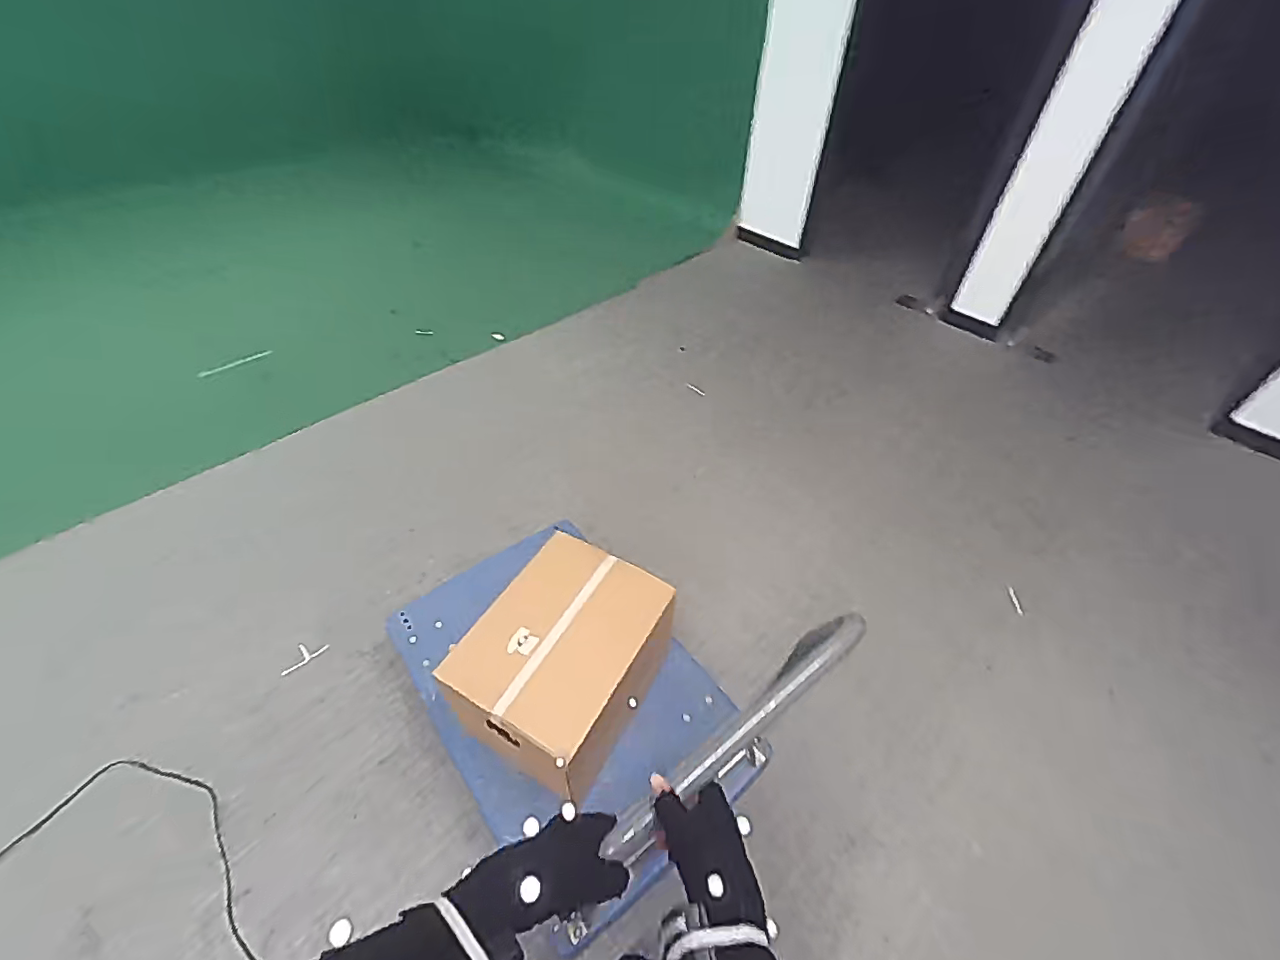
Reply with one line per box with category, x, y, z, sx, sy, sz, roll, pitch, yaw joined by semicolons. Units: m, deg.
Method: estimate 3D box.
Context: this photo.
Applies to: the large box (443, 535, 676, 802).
large box;-0.152;0.407;1.201;0.320;0.320;0.408;23;51;20
